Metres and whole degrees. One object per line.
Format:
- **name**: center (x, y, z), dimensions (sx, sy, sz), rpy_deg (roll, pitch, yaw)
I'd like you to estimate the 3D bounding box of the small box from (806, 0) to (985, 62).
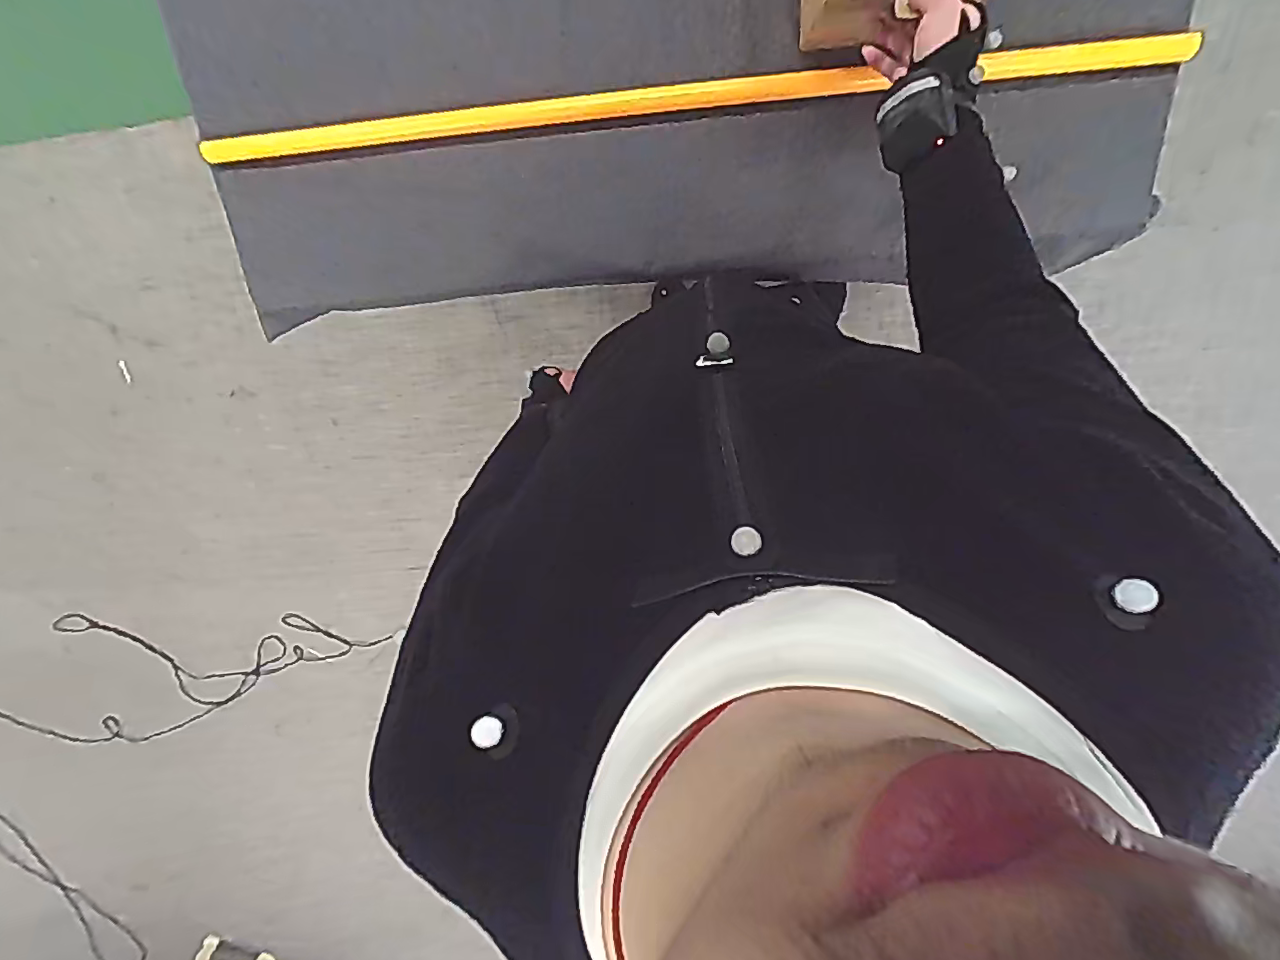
- **small box**: center (0.266, -0.556, 0.545), dimensions (0.168, 0.176, 0.179), rpy_deg (-3, 109, 8)
